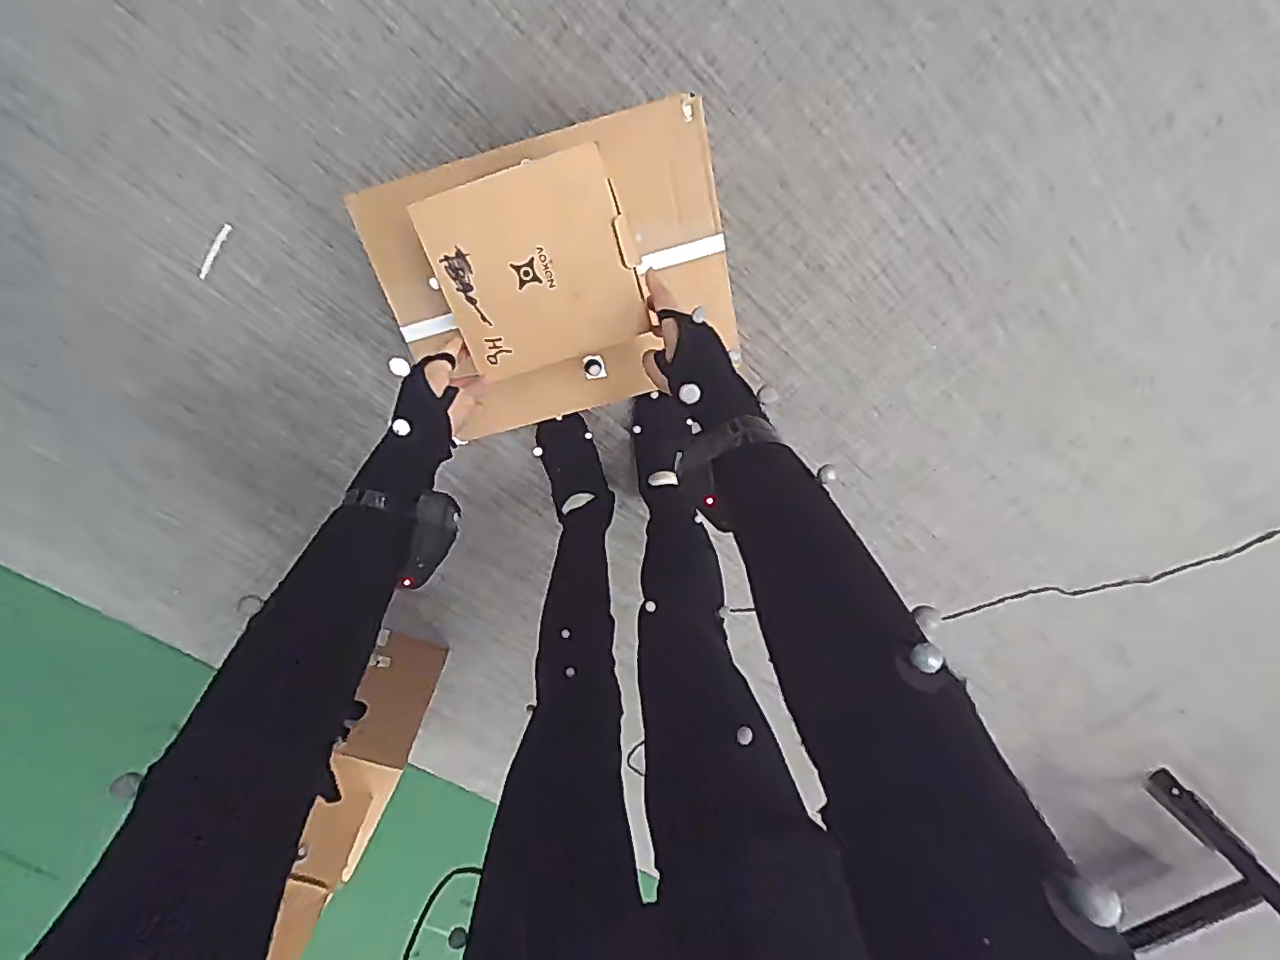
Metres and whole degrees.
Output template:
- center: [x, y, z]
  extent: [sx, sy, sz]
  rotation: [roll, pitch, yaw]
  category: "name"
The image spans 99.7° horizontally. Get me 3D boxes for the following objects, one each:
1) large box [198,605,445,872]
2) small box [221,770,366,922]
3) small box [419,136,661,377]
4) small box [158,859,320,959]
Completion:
- center: [-0.669, 0.552, 1.175]
  extent: [0.320, 0.320, 0.408]
  rotation: [25, 113, -13]
  category: "large box"
- center: [-0.619, 0.650, 0.952]
  extent: [0.179, 0.176, 0.168]
  rotation: [30, 110, -16]
  category: "small box"
- center: [-0.090, -0.225, 0.557]
  extent: [0.179, 0.176, 0.168]
  rotation: [-17, 113, 4]
  category: "small box"
- center: [-0.615, 0.713, 0.802]
  extent: [0.168, 0.176, 0.179]
  rotation: [31, 110, -16]
  category: "small box"
